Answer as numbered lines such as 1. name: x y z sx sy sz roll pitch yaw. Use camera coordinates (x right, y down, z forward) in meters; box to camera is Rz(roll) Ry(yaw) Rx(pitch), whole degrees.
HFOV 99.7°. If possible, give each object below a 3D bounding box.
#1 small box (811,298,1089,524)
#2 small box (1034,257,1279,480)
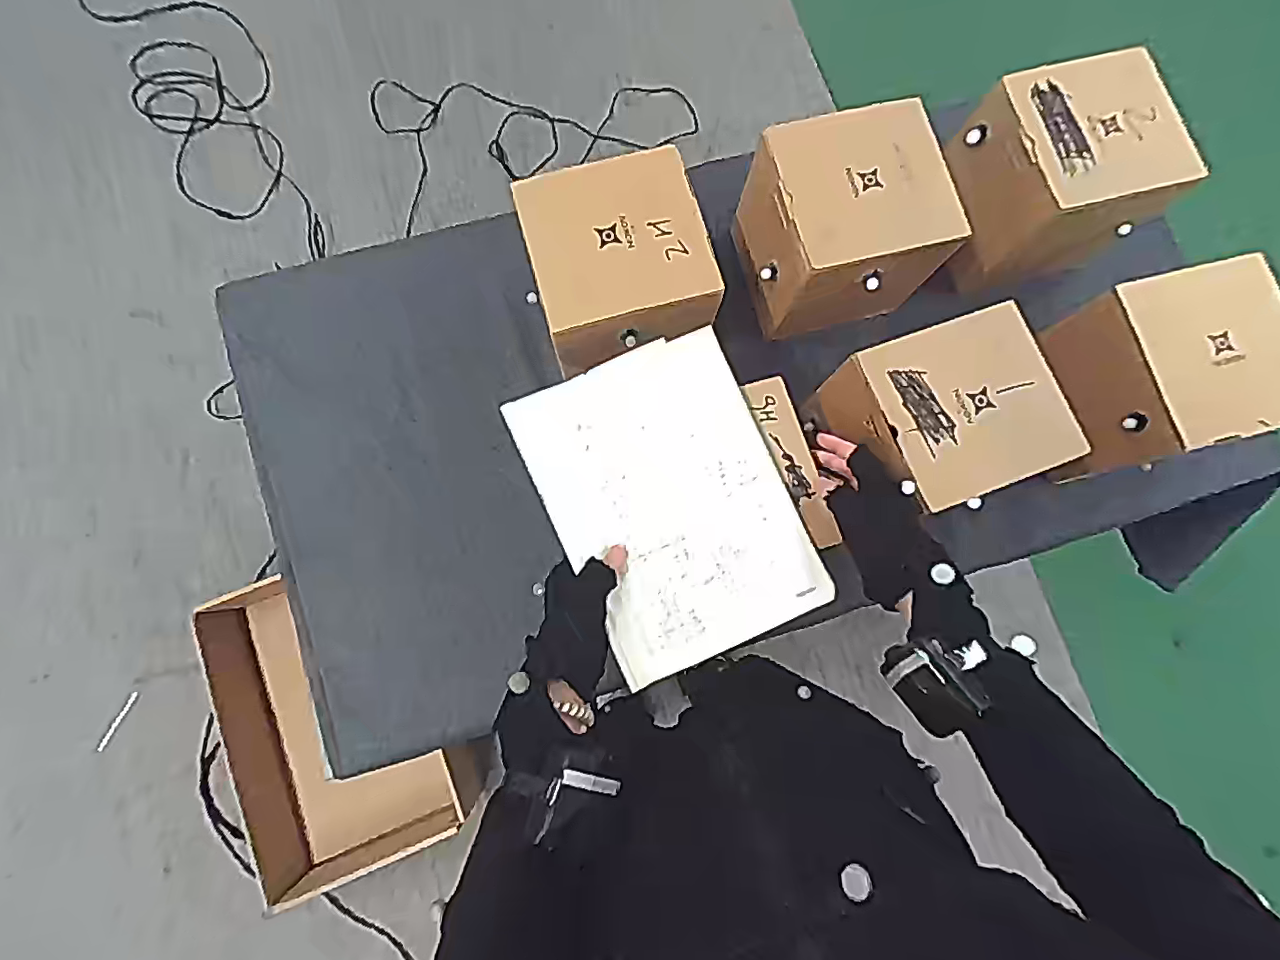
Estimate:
1. small box: 0.306 -0.060 0.583 0.179 0.176 0.168 -19 80 -6
2. small box: 0.562 -0.113 0.605 0.168 0.176 0.179 -13 80 -5
